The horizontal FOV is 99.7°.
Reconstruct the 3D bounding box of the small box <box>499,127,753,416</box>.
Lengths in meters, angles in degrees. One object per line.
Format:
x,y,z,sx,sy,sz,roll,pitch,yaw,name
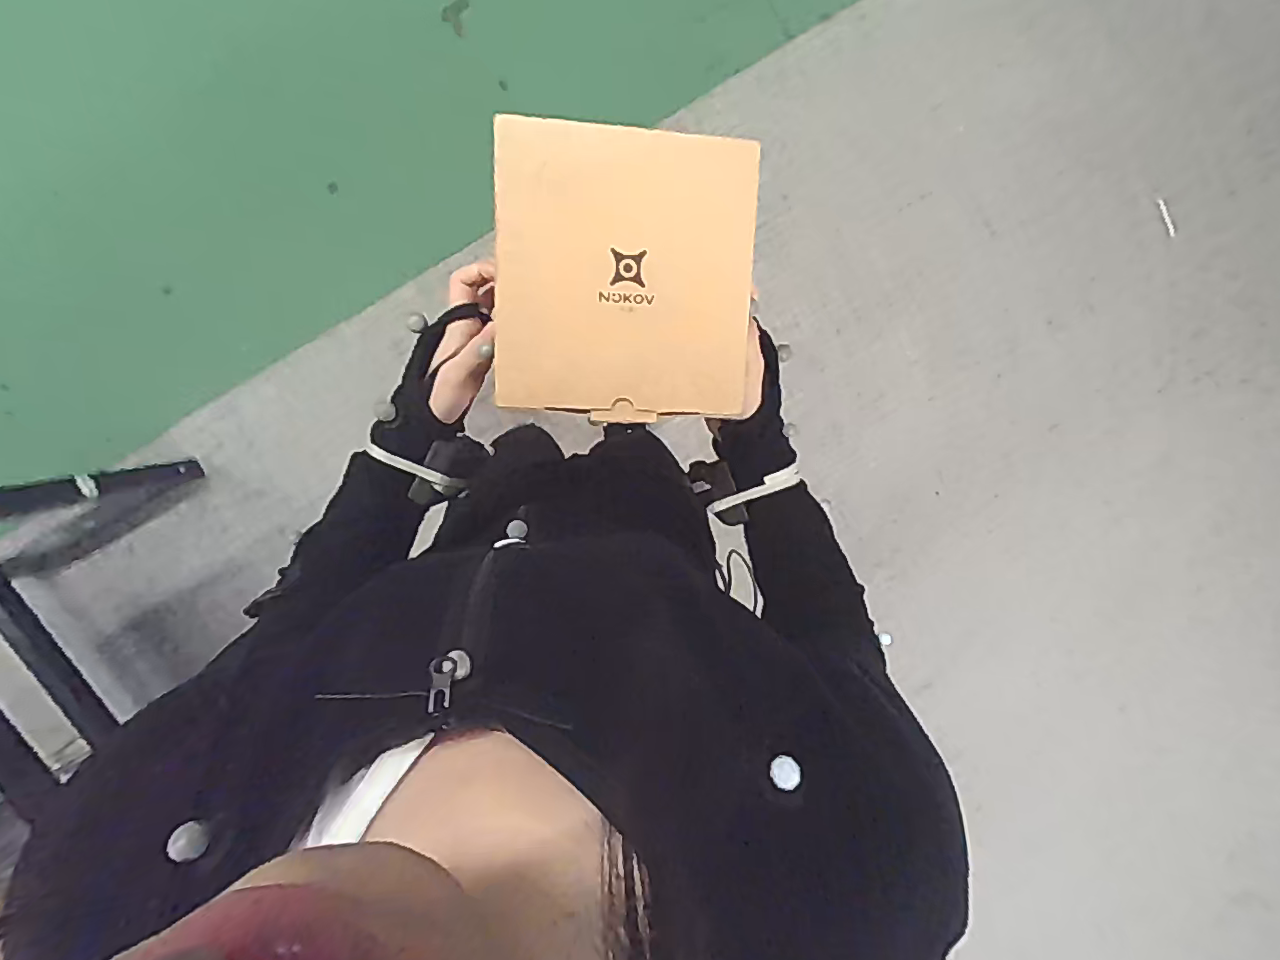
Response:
-0.019,-0.141,0.429,0.168,0.176,0.179,-1,99,-8,small box
